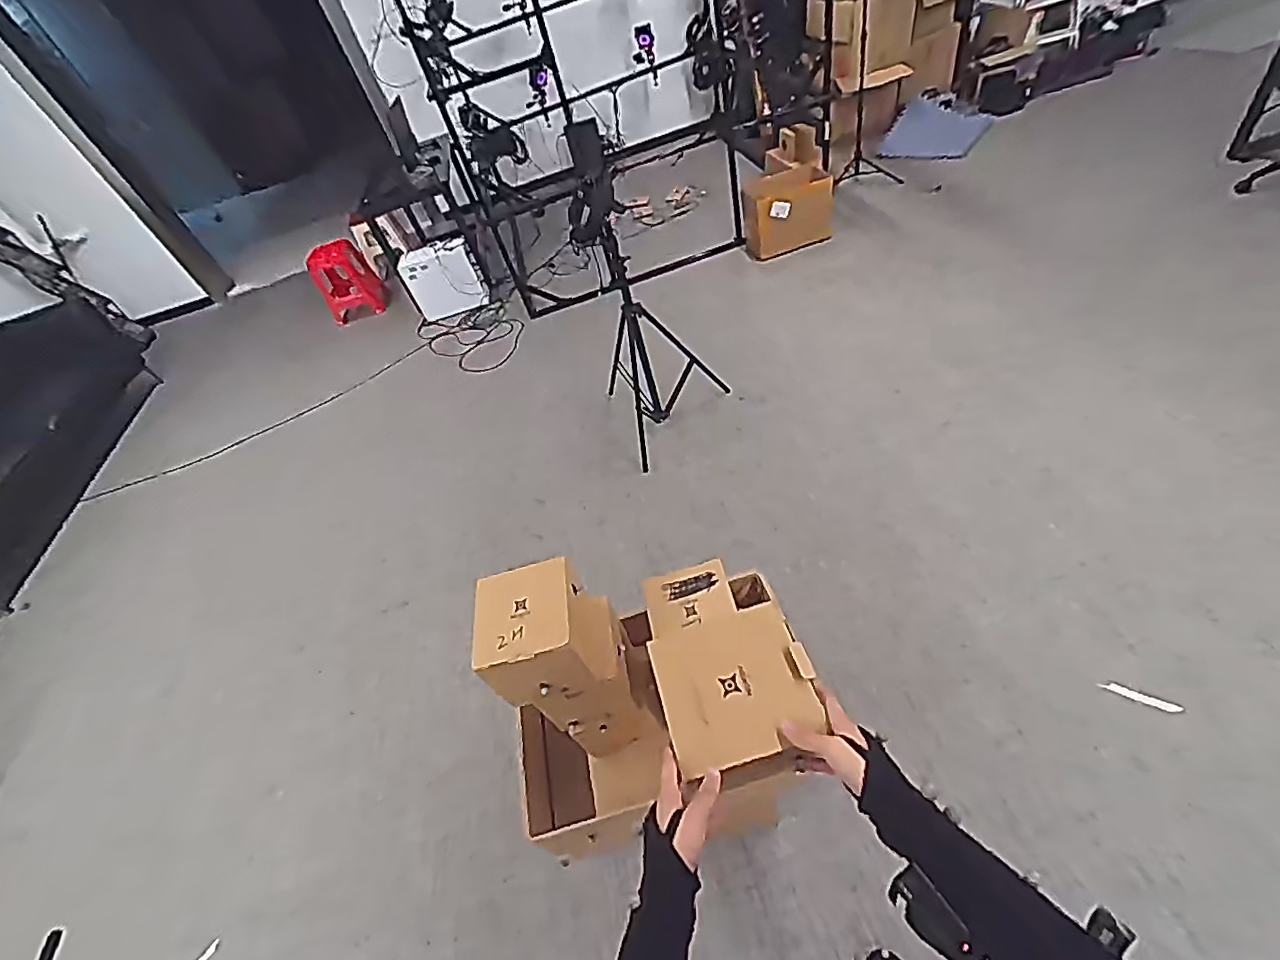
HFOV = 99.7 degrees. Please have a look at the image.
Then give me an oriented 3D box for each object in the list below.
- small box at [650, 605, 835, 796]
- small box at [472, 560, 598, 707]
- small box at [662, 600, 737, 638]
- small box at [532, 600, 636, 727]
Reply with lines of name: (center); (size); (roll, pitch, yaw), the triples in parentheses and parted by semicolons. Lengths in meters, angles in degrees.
small box: (0.129, 0.289, 0.698); (0.179, 0.176, 0.168); (-19, 52, 2)
small box: (-0.180, 0.275, 0.962); (0.168, 0.176, 0.179); (-16, 47, 4)
small box: (0.160, 0.400, 1.195); (0.168, 0.176, 0.179); (-19, 46, 2)
small box: (-0.113, 0.373, 1.080); (0.168, 0.176, 0.179); (-16, 46, 3)
